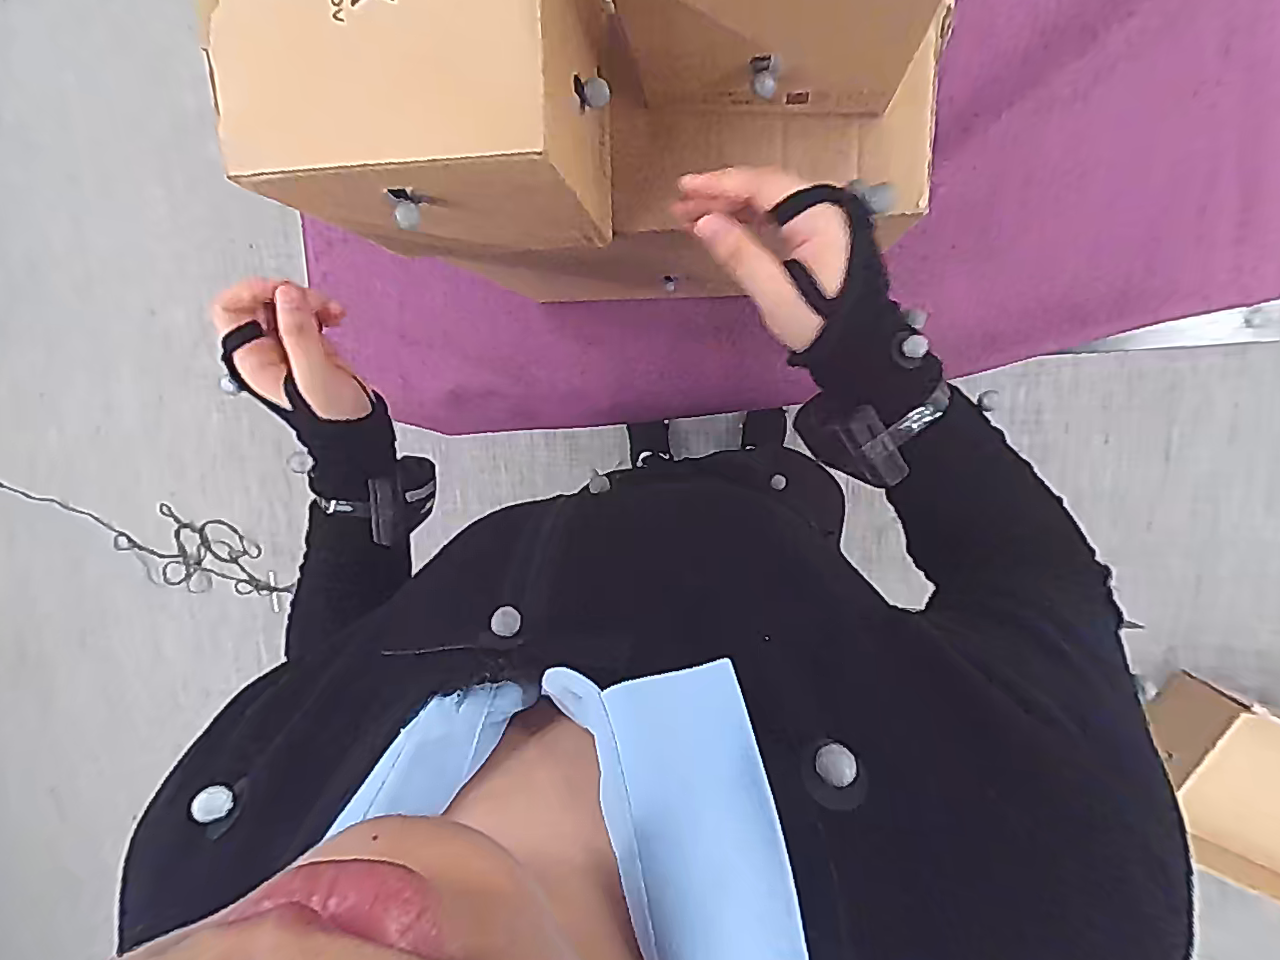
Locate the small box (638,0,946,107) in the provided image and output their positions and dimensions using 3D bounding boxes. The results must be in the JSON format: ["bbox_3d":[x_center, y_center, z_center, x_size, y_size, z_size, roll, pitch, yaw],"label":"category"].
[{"bbox_3d":[0.083,-0.330,0.275,0.168,0.176,0.179,7,100,10],"label":"small box"}]

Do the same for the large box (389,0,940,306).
[{"bbox_3d":[0.030,-0.362,0.531,0.408,0.320,0.320,0,98,10],"label":"large box"}]
